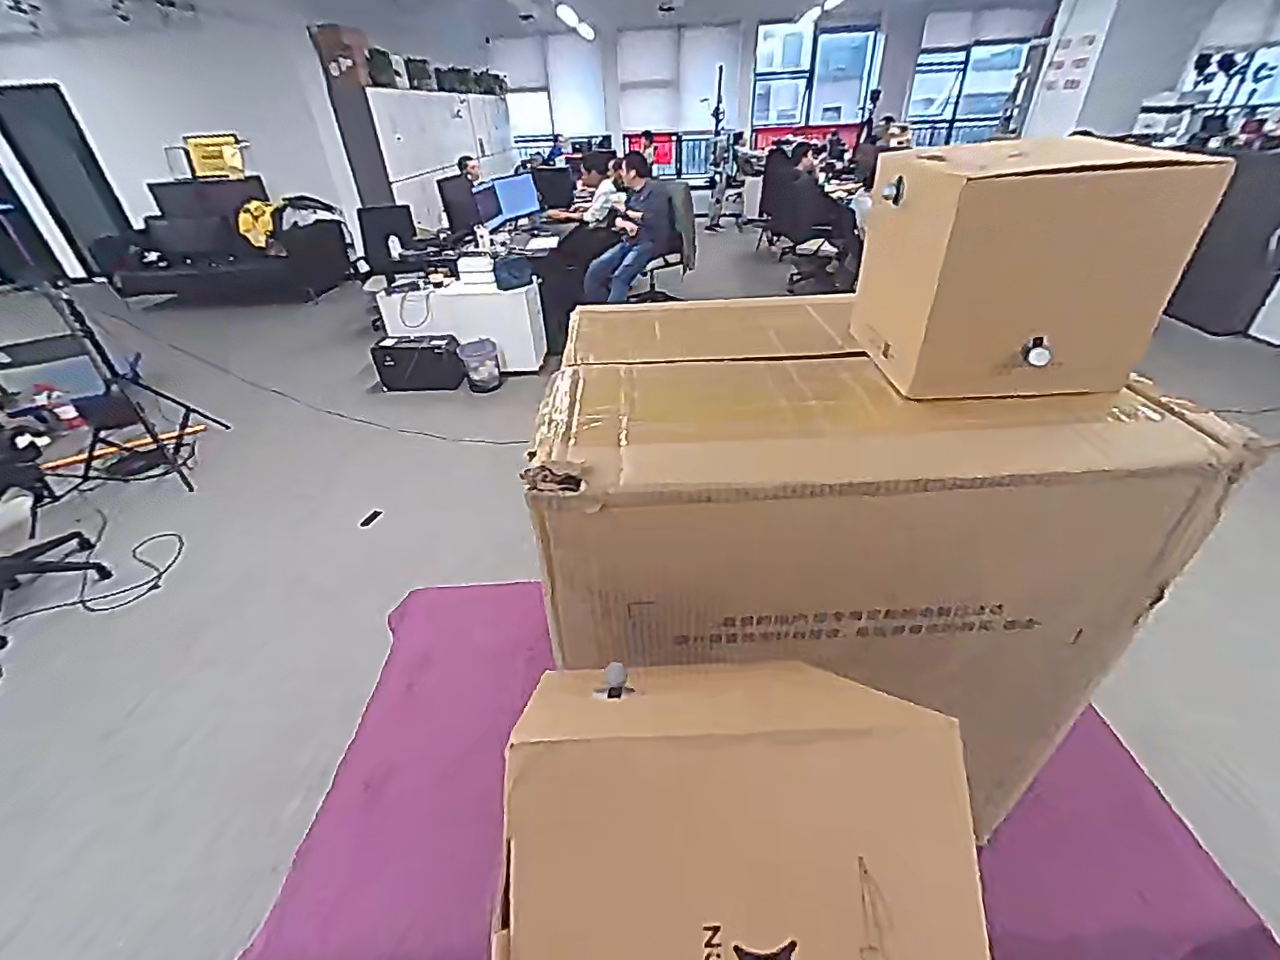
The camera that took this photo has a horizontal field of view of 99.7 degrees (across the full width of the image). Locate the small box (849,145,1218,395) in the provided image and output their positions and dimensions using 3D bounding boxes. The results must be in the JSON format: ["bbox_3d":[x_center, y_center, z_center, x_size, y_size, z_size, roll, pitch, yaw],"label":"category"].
[{"bbox_3d":[0.304,-0.184,0.471,0.179,0.176,0.168,-2,34,2],"label":"small box"}]
